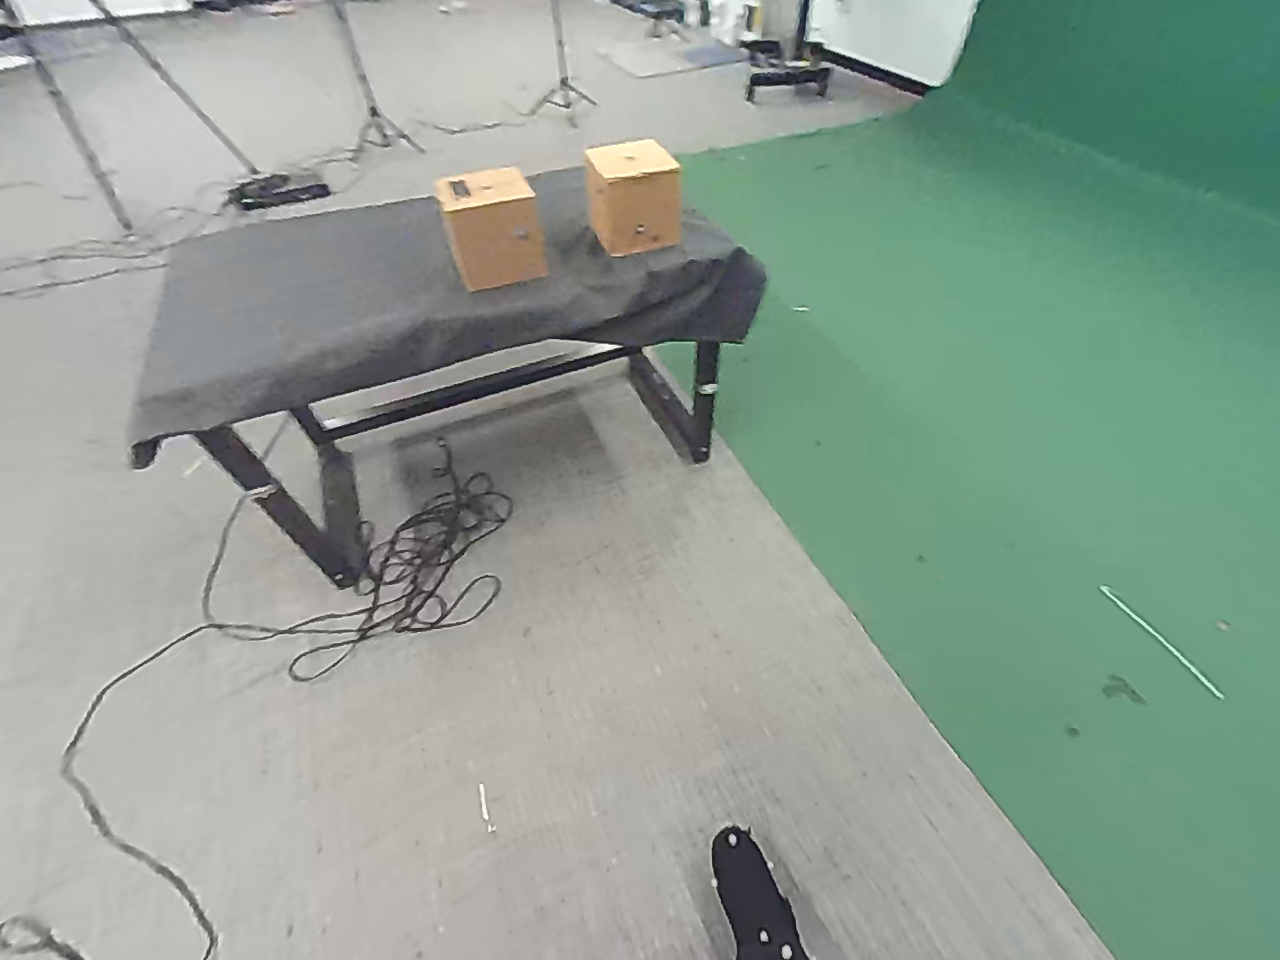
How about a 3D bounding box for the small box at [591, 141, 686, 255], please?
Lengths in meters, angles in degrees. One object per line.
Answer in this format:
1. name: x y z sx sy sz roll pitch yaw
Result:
1. small box: -0.006 -0.634 1.217 0.168 0.176 0.179 -16 52 -11
